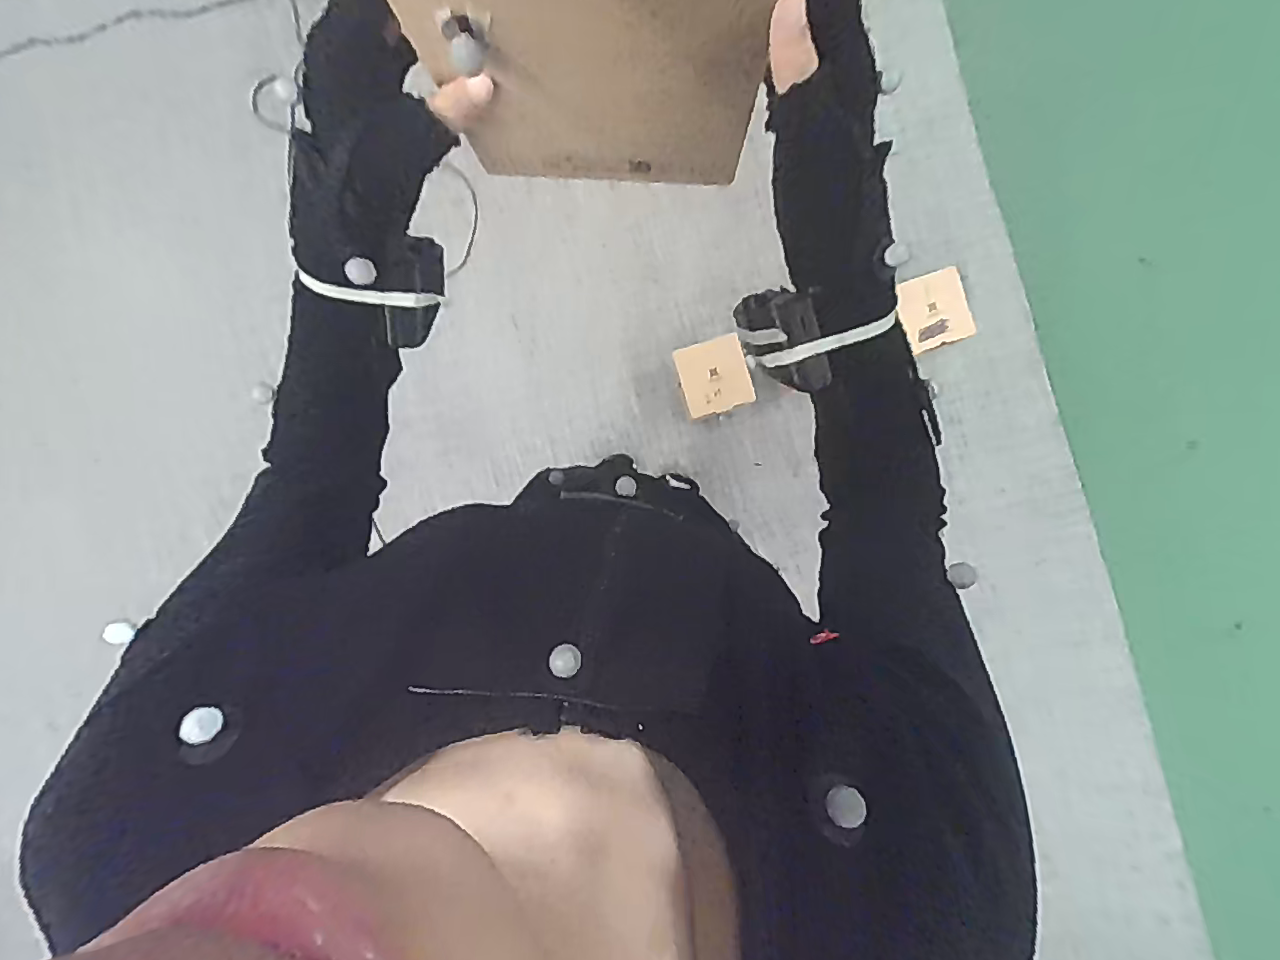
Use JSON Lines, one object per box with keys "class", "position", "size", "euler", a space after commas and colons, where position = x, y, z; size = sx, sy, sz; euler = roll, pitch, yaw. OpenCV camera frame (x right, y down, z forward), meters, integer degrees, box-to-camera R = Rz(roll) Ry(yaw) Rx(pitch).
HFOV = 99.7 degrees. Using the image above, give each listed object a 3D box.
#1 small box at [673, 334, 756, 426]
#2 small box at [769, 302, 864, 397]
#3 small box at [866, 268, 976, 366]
{"class": "small box", "position": [0.183, -0.248, 1.384], "size": [0.168, 0.176, 0.179], "euler": [-17, 91, 4]}
{"class": "small box", "position": [0.441, -0.324, 1.375], "size": [0.168, 0.176, 0.179], "euler": [-15, 91, 2]}
{"class": "small box", "position": [0.699, -0.399, 1.362], "size": [0.168, 0.176, 0.179], "euler": [-18, 90, 2]}
